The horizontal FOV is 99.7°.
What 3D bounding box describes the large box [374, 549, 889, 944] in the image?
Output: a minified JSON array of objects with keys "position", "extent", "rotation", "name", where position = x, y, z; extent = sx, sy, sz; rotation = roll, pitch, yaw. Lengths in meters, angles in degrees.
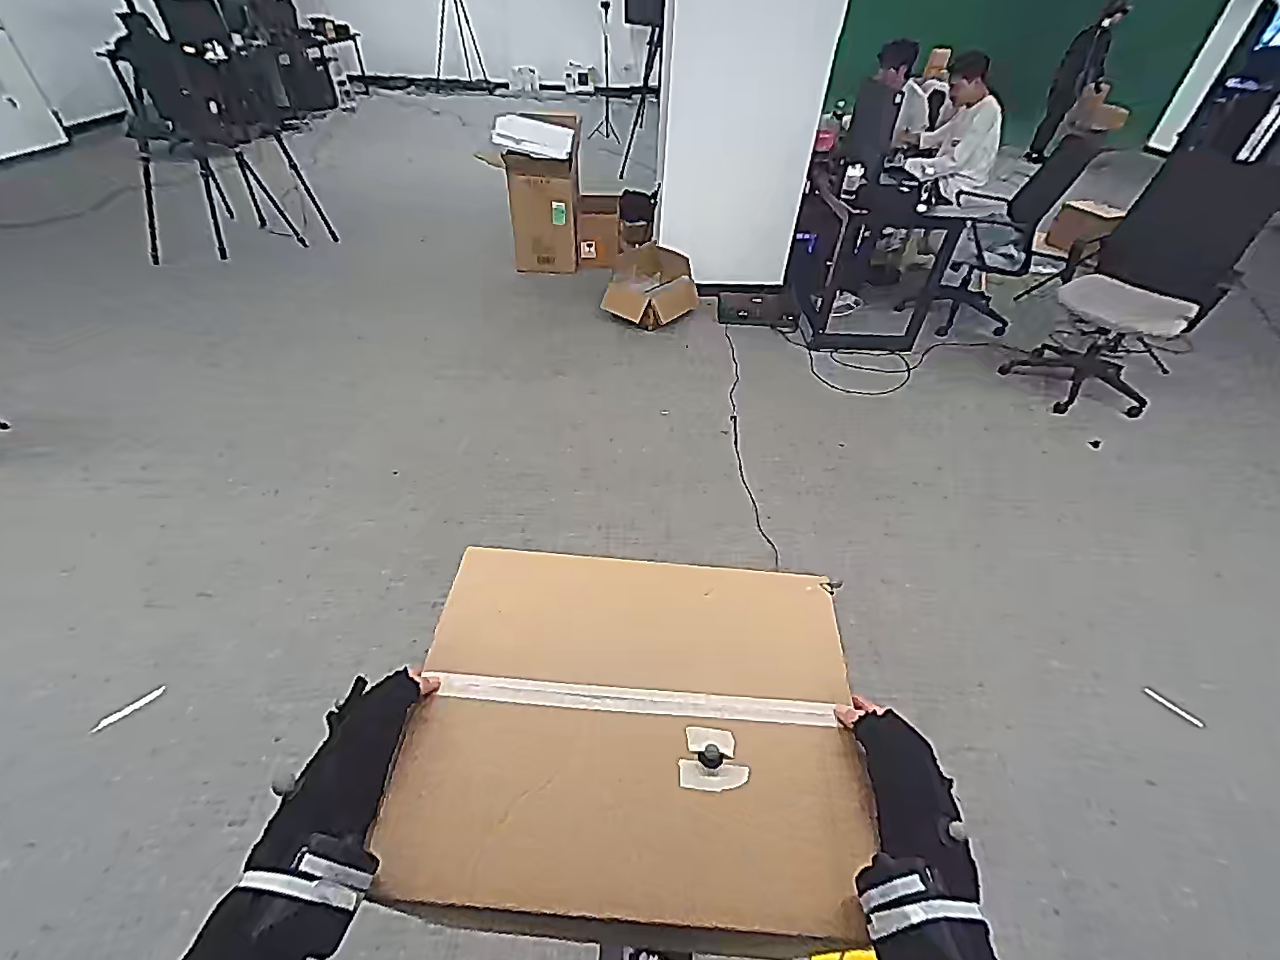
[{"position":[-0.009,0.306,0.617],"extent":[0.408,0.320,0.320],"rotation":[5,47,0],"name":"large box"}]
